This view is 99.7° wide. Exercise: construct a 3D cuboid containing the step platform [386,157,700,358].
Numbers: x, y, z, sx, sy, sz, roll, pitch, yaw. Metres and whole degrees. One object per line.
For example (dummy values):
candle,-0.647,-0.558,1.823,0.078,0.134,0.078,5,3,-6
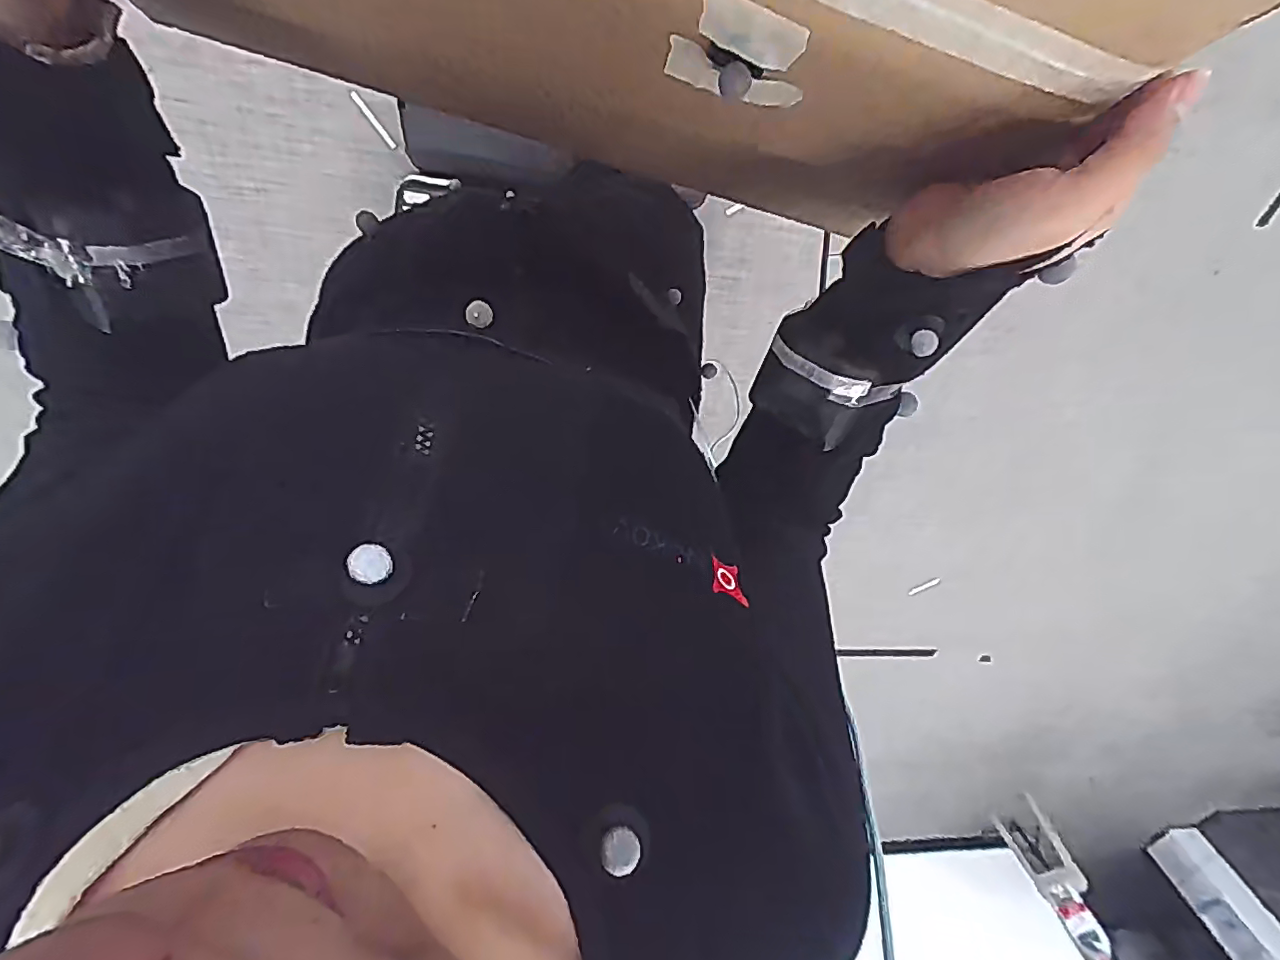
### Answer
step platform,-0.209,-0.497,1.244,0.684,0.204,0.286,9,122,-12
